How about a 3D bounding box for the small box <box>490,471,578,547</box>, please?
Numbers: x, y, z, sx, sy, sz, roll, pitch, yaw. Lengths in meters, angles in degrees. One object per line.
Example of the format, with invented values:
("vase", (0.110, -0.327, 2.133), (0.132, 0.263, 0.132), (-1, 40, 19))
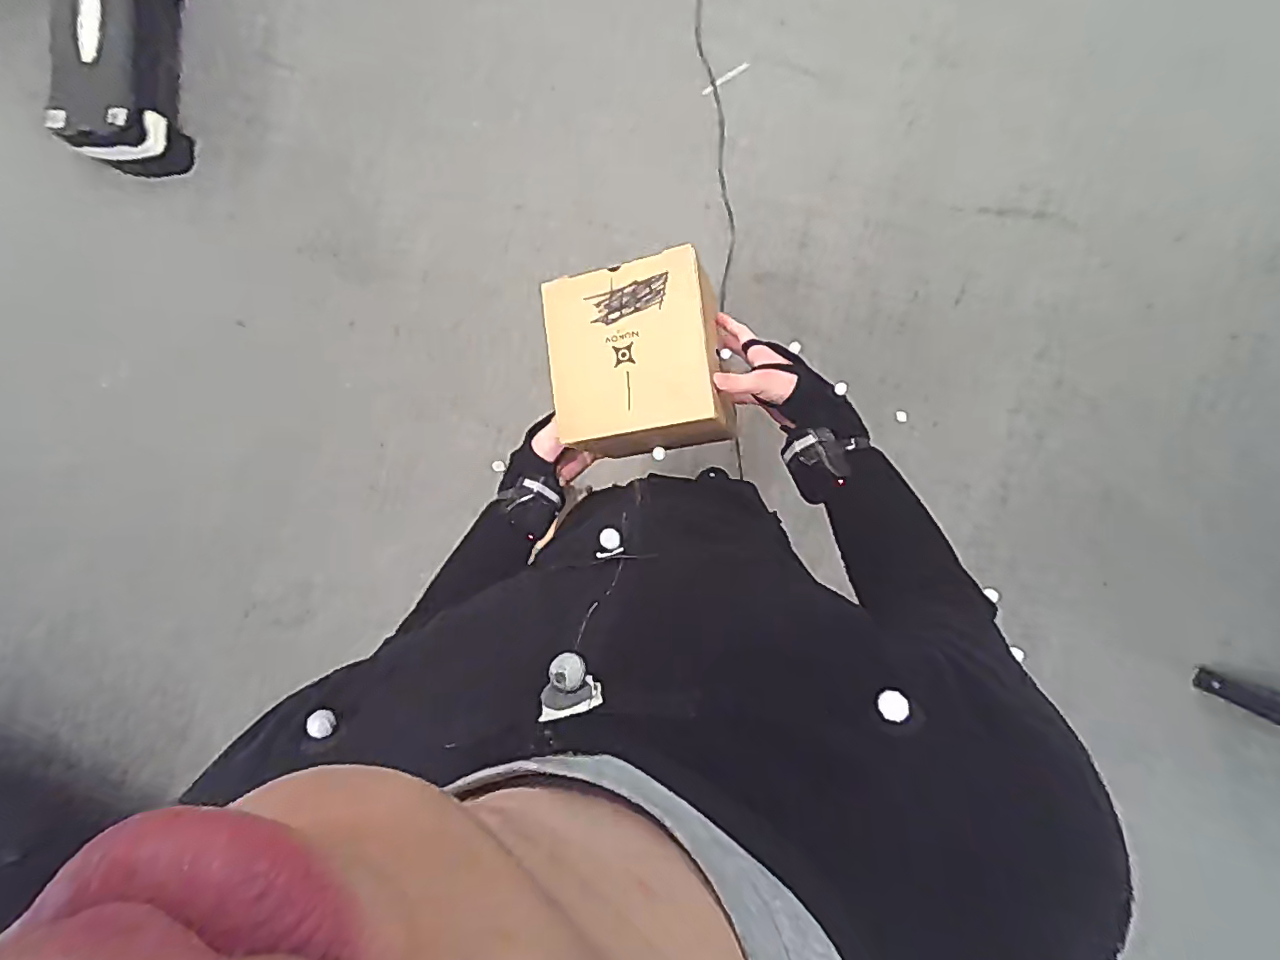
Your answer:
("small box", (-0.294, 0.075, 1.531), (0.179, 0.176, 0.168), (16, 96, 5))
